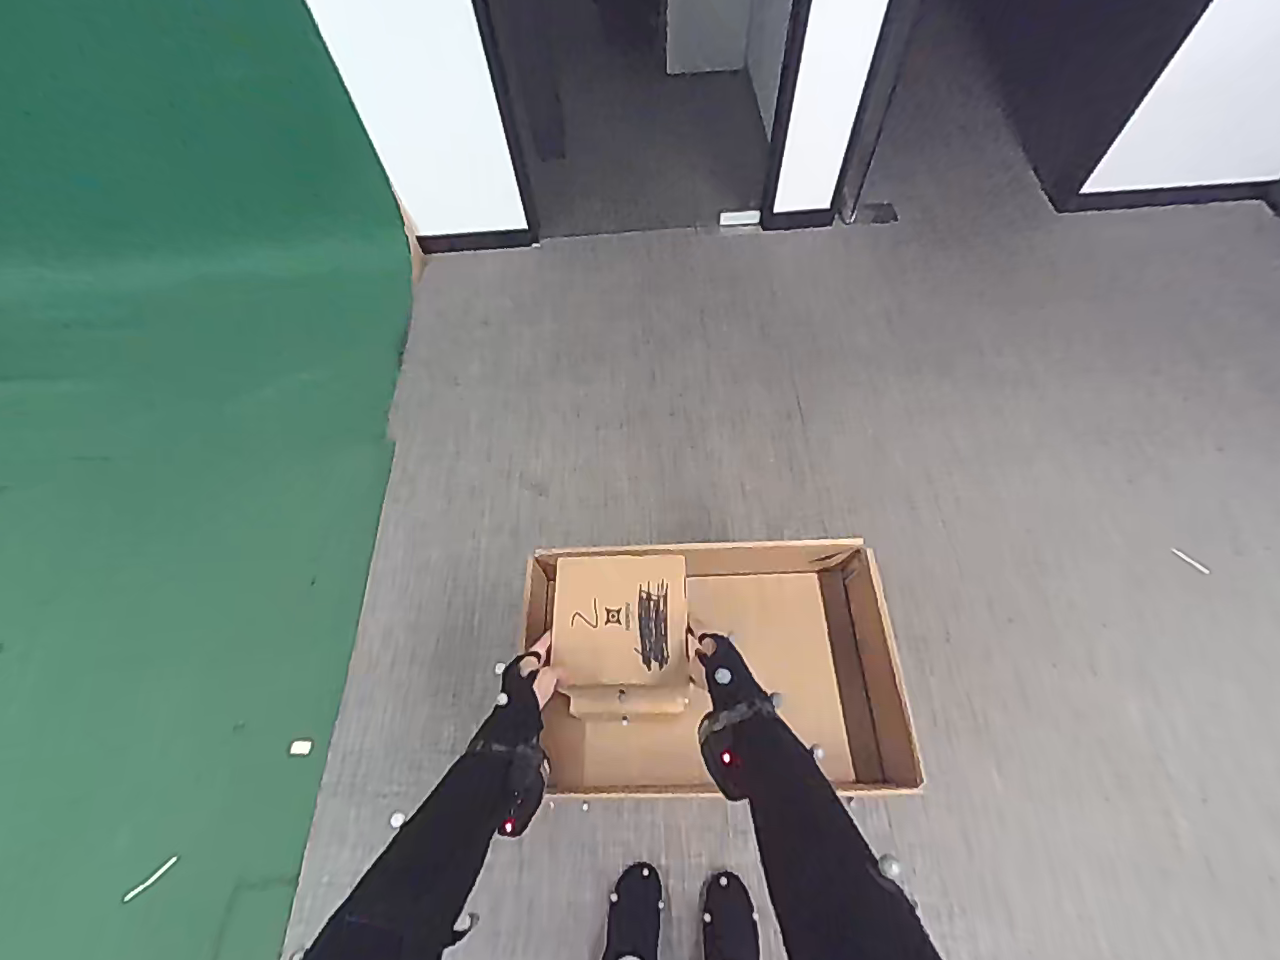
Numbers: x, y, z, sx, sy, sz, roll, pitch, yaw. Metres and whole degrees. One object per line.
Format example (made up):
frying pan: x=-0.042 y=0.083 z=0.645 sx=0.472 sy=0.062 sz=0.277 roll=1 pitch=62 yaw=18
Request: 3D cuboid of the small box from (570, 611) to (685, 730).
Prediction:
small box: x=-0.016 y=0.326 z=0.920 sx=0.179 sy=0.176 sz=0.168 roll=-1 pitch=60 yaw=3
